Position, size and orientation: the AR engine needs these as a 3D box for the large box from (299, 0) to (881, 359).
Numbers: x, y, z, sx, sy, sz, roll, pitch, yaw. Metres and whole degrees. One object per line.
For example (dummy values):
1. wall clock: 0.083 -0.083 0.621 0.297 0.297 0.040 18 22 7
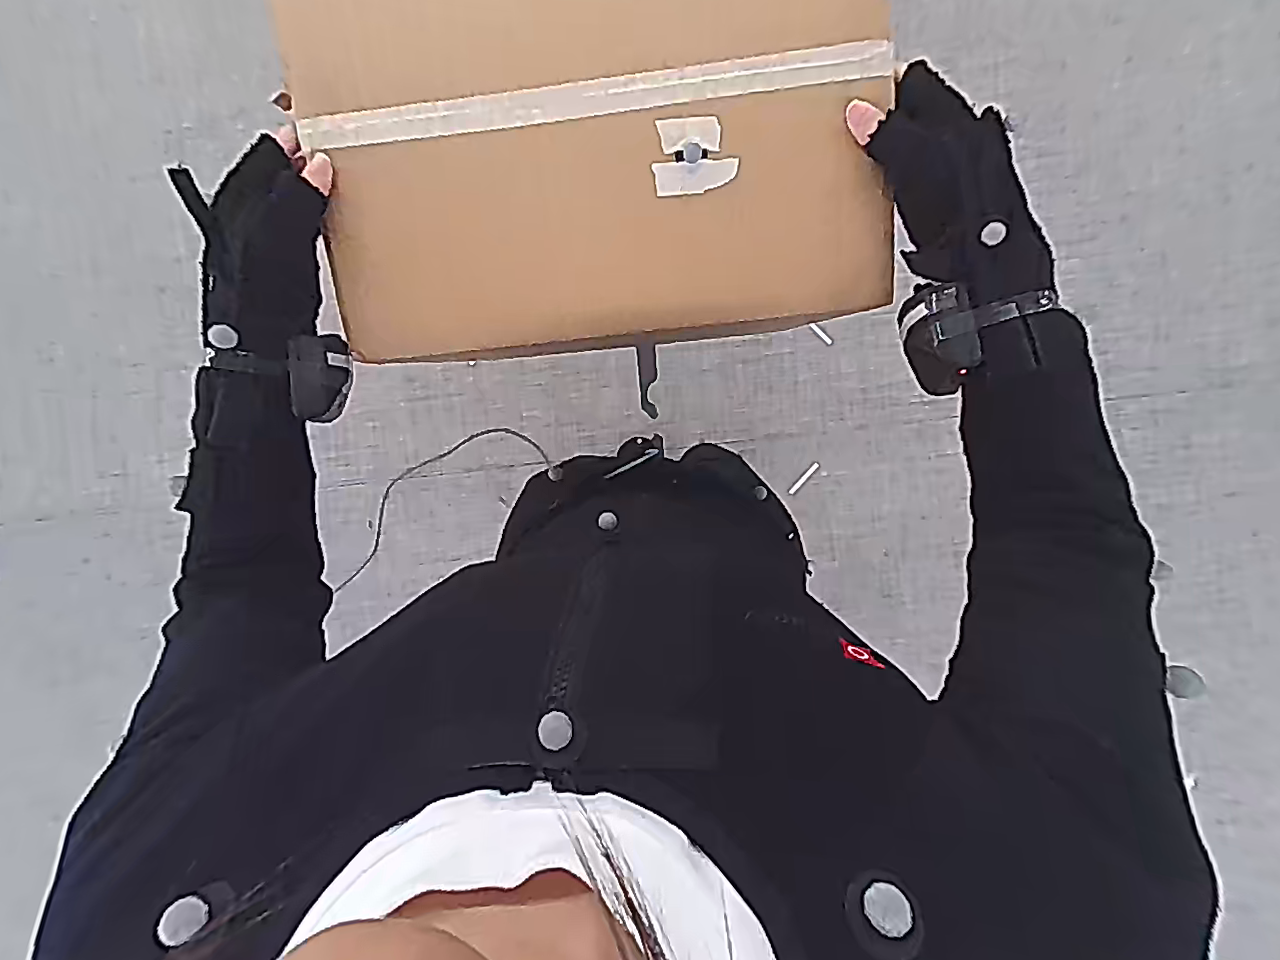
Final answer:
1. large box: -0.029 -0.299 0.531 0.408 0.320 0.320 -6 103 3
